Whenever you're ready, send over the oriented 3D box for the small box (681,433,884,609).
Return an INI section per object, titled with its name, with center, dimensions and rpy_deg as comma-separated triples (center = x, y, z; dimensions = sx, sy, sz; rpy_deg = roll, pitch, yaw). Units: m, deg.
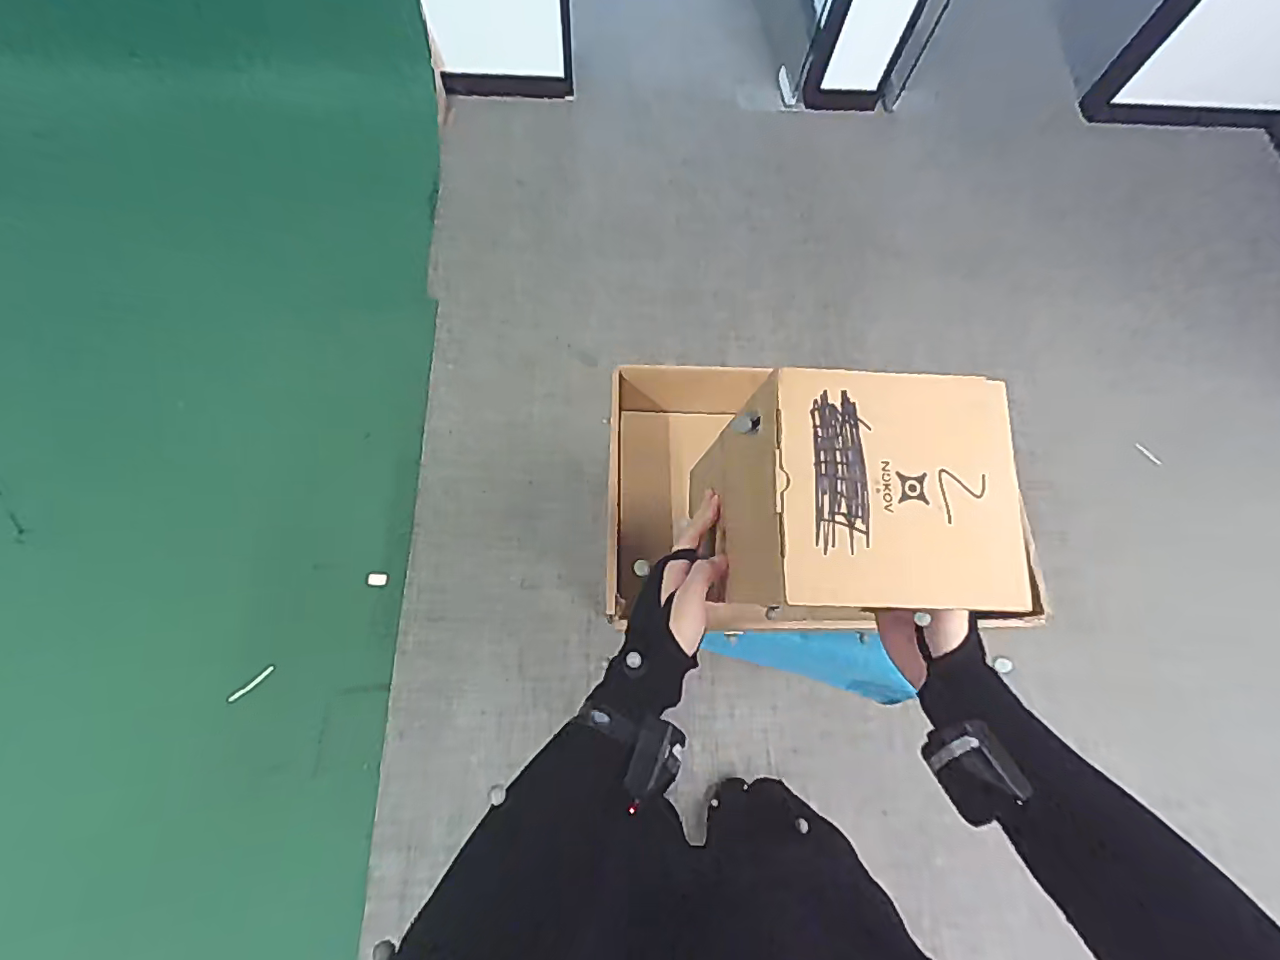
[small box]
center = 0.150, 0.054, 0.612
dimensions = 0.179, 0.176, 0.168
rpy_deg = 4, 78, -4
